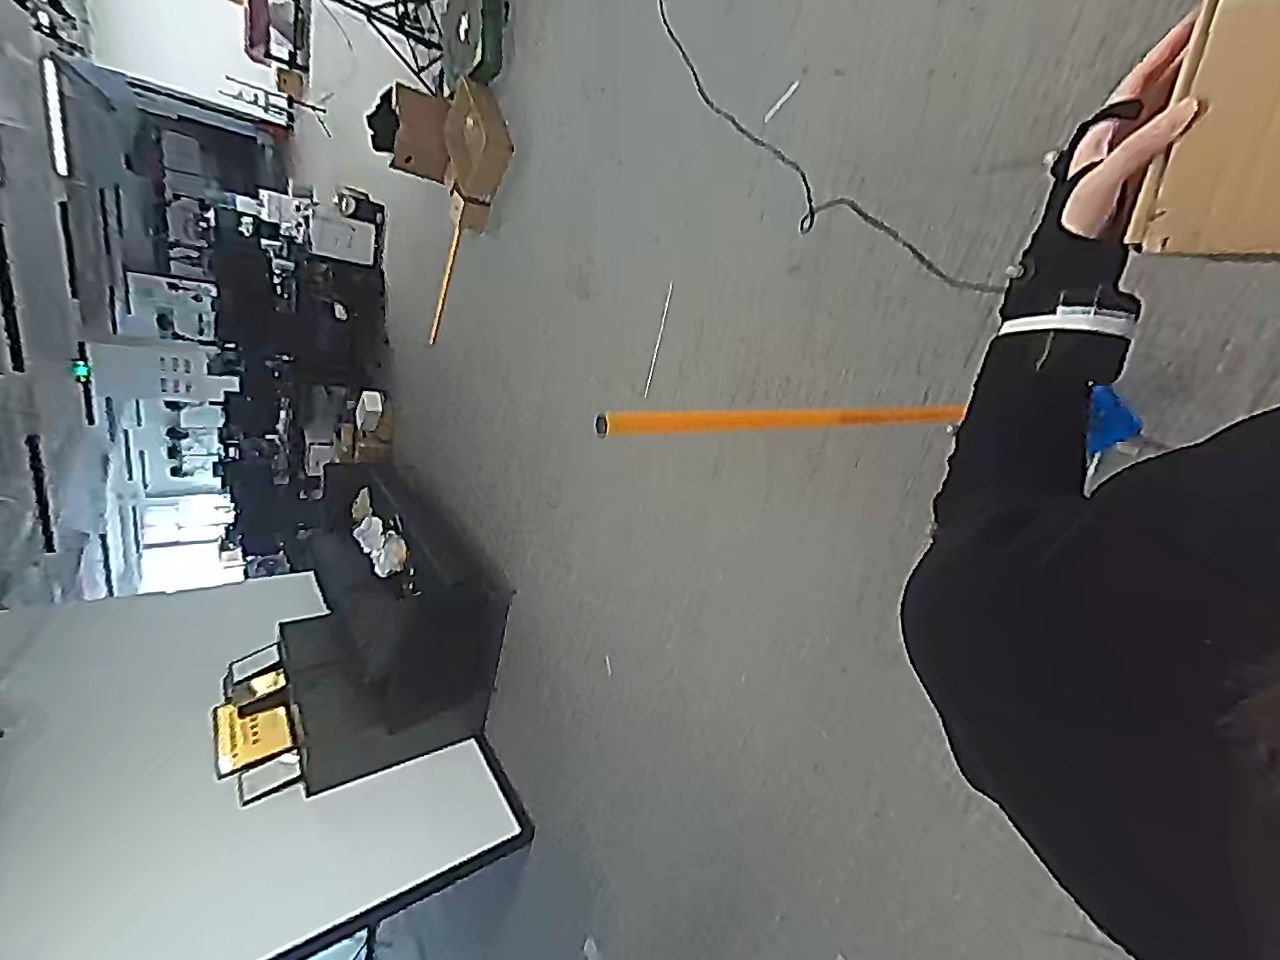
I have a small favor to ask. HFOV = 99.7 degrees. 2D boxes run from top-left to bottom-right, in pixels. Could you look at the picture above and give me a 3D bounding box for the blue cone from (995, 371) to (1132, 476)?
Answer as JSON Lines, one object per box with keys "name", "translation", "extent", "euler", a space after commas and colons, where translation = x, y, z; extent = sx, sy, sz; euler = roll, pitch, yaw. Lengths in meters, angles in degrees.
{"name": "blue cone", "translation": [0.819, -0.116, 1.101], "extent": [0.192, 0.380, 0.193], "euler": [-46, 59, 42]}
